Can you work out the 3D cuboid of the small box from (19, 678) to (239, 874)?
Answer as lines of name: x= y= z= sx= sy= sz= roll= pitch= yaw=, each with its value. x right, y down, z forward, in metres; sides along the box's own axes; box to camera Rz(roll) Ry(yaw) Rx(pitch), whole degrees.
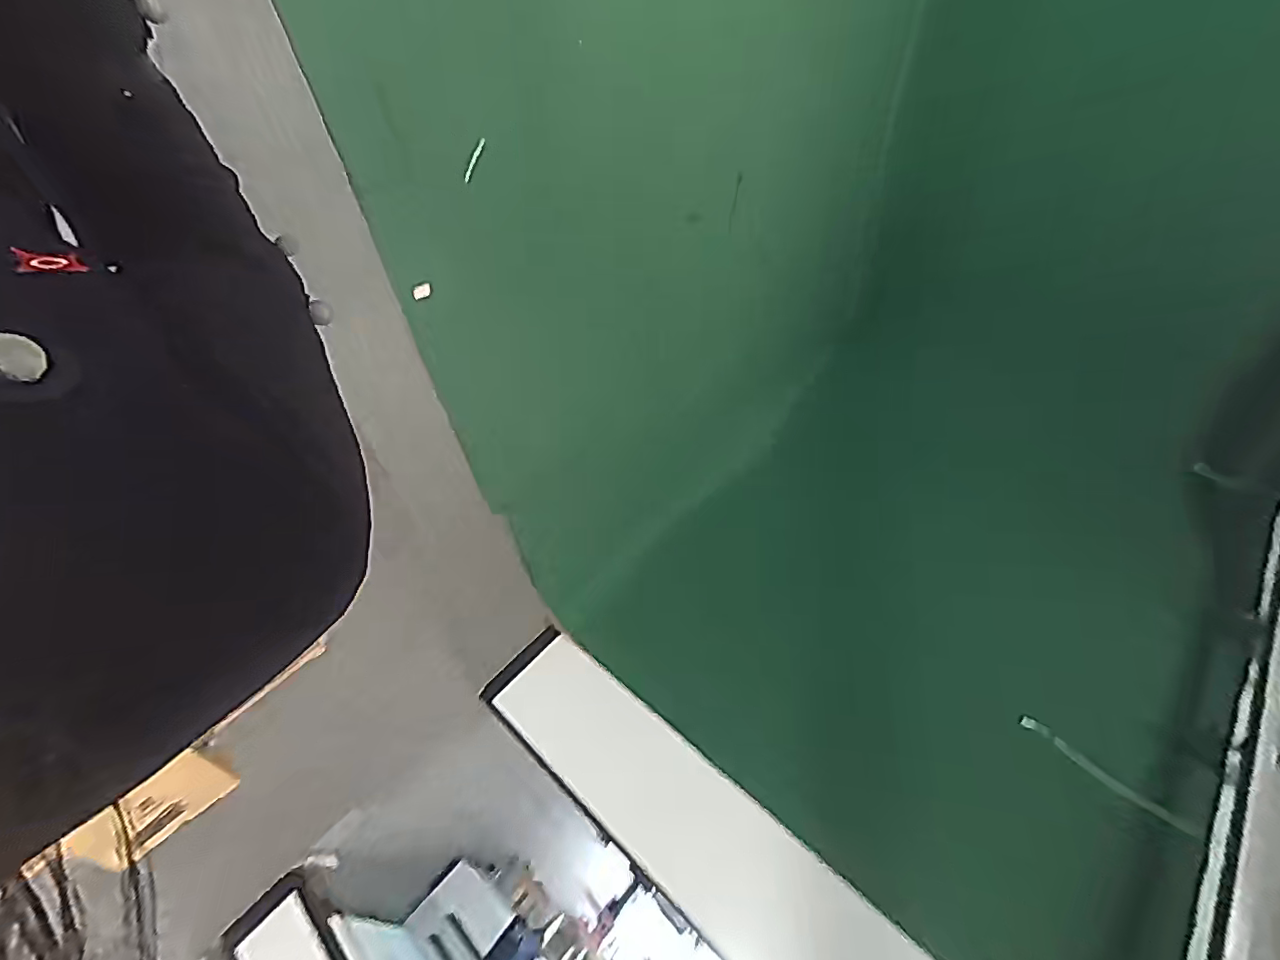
small box: x=-0.759 y=0.434 z=0.812 sx=0.168 sy=0.176 sz=0.179 roll=-37 pitch=143 yaw=-32
